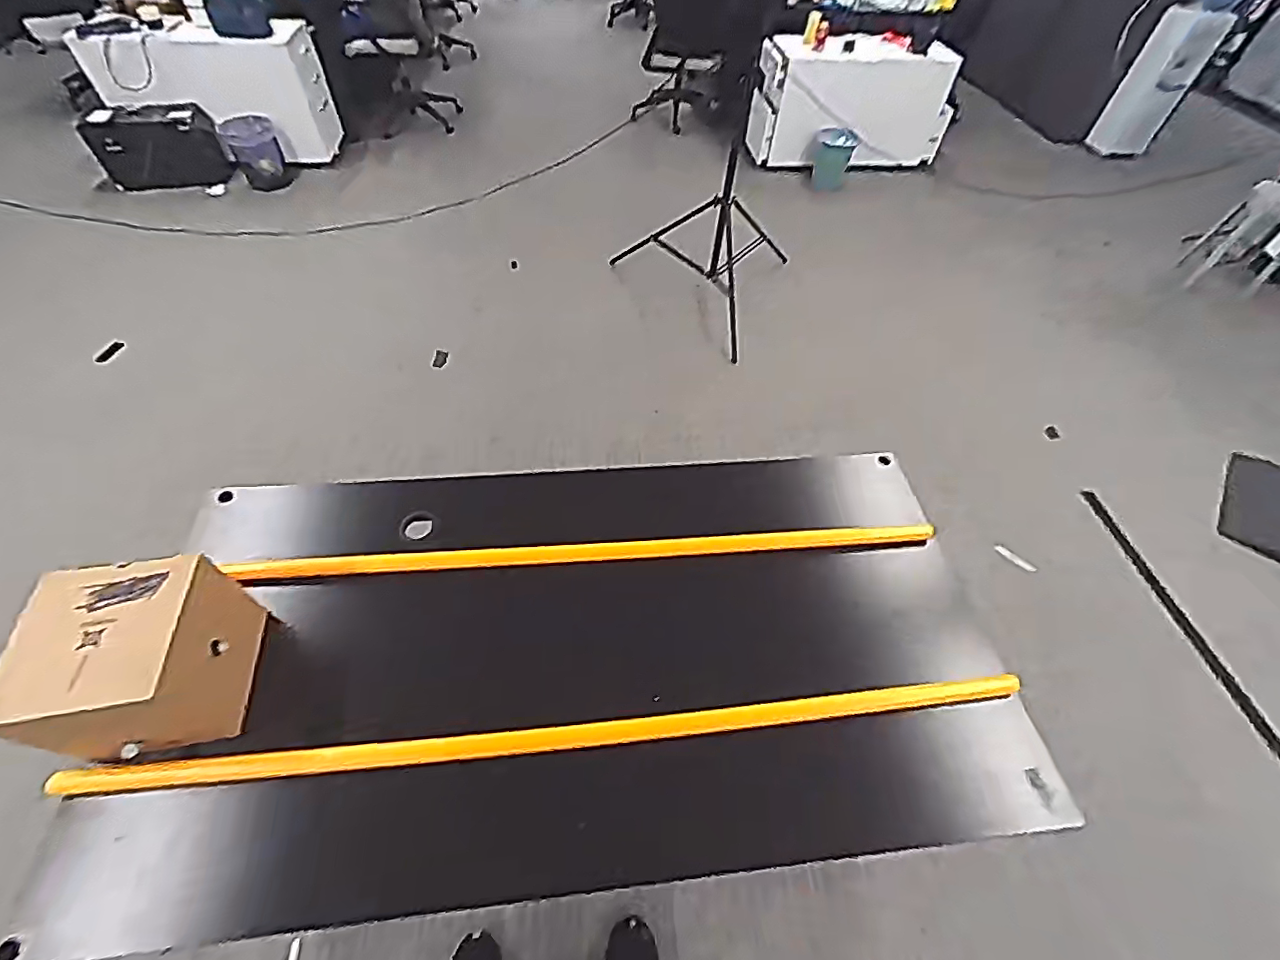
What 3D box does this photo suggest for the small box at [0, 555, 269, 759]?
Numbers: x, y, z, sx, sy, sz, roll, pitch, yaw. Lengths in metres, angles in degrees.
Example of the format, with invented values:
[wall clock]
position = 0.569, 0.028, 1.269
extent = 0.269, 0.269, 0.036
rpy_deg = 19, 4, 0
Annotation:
[small box]
position = -0.589, 0.216, 0.658
extent = 0.168, 0.176, 0.179
rpy_deg = -7, 54, -9
